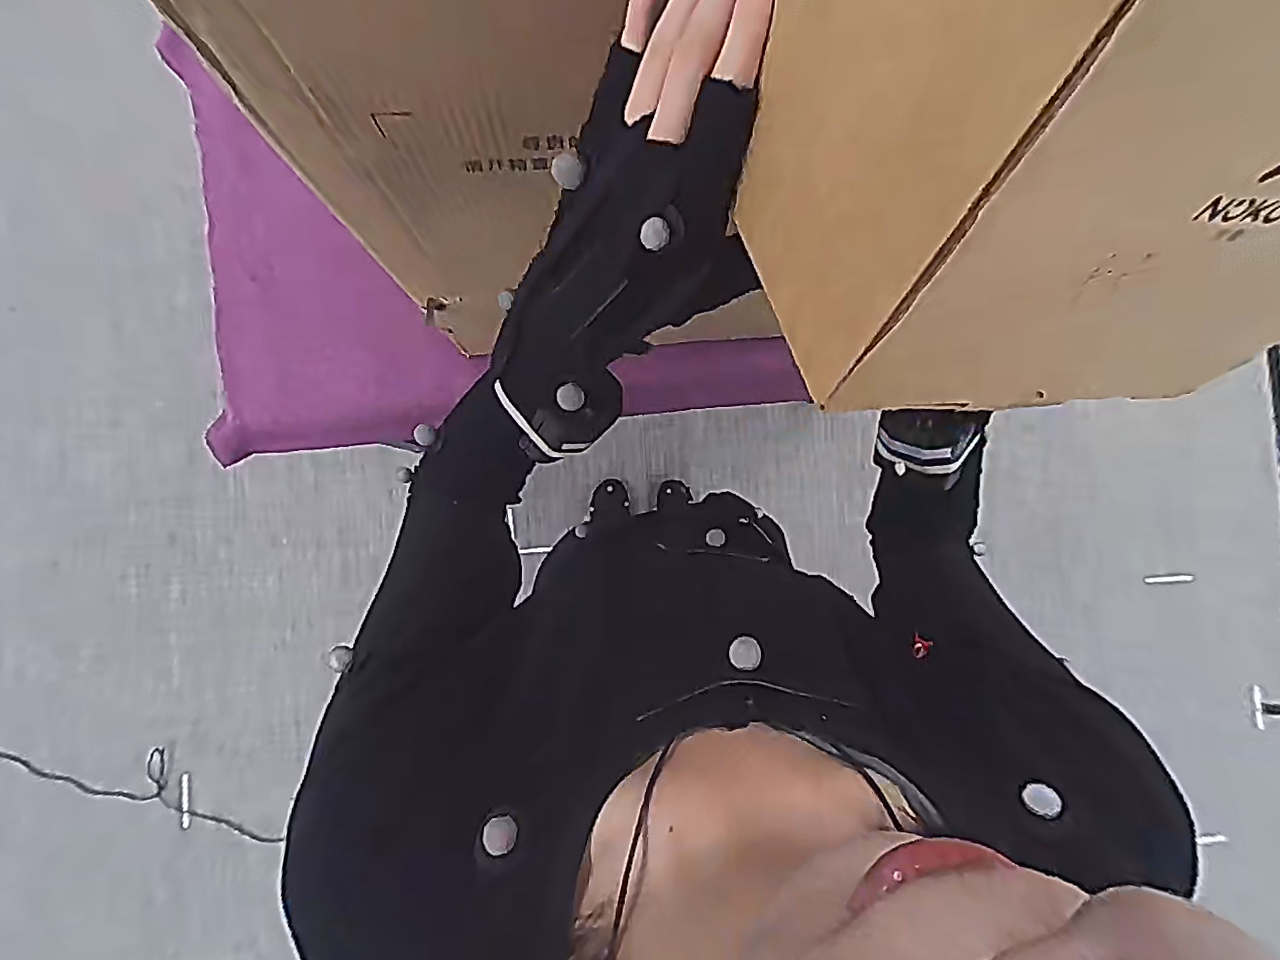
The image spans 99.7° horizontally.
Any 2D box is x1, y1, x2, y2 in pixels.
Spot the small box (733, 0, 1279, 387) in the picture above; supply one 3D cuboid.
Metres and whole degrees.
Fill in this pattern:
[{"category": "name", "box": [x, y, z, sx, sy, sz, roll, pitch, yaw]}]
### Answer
[{"category": "small box", "box": [0.140, -0.148, 0.156, 0.168, 0.179, 0.176, -5, 61, -14]}]
